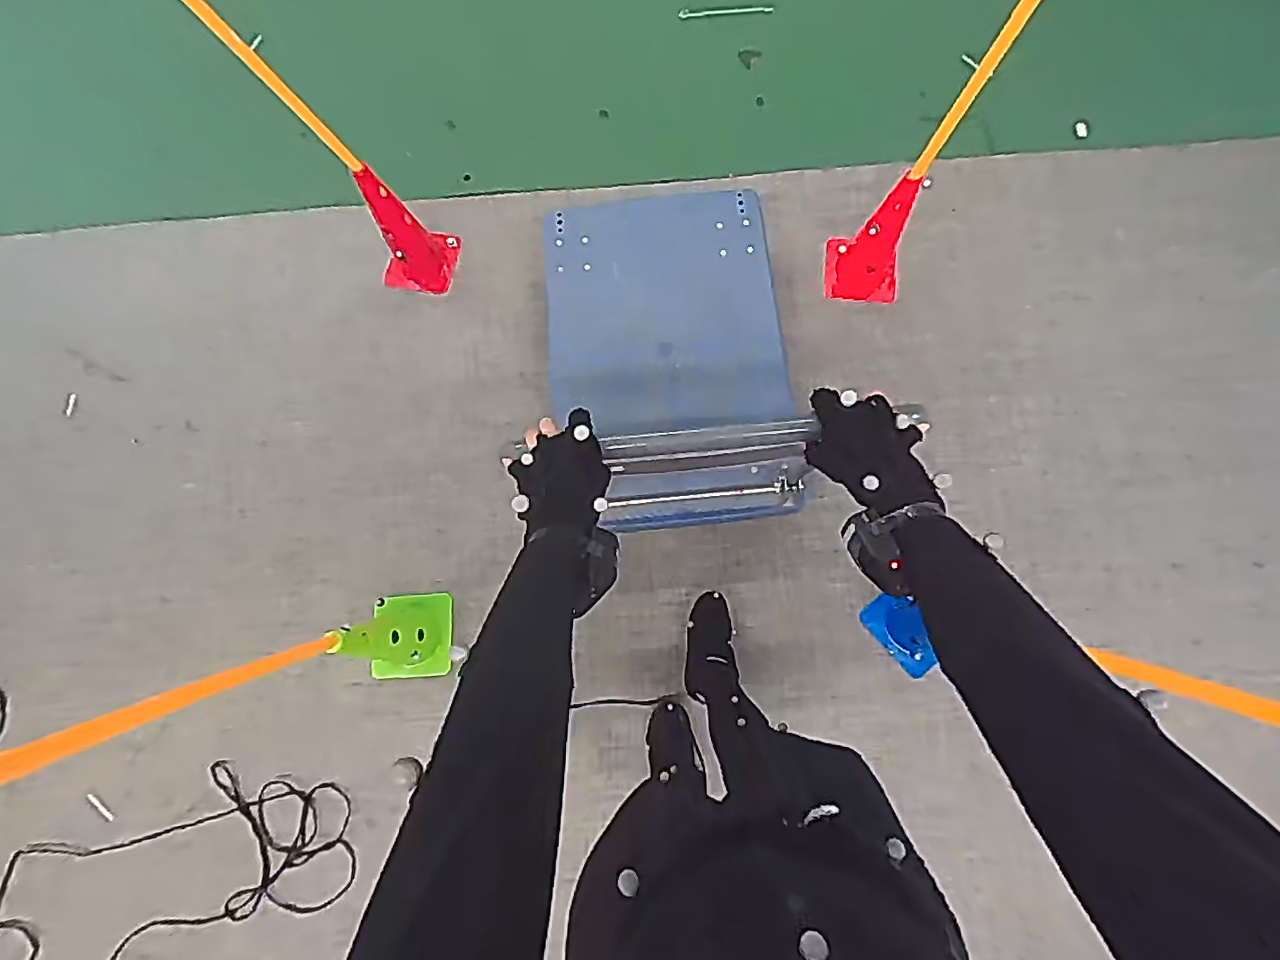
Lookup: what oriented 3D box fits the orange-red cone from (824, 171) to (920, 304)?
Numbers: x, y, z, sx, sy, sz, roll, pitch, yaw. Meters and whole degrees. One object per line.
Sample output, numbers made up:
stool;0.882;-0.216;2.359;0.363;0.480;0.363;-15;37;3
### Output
orange-red cone;0.627;-0.640;1.392;0.198;0.360;0.199;7;77;5
